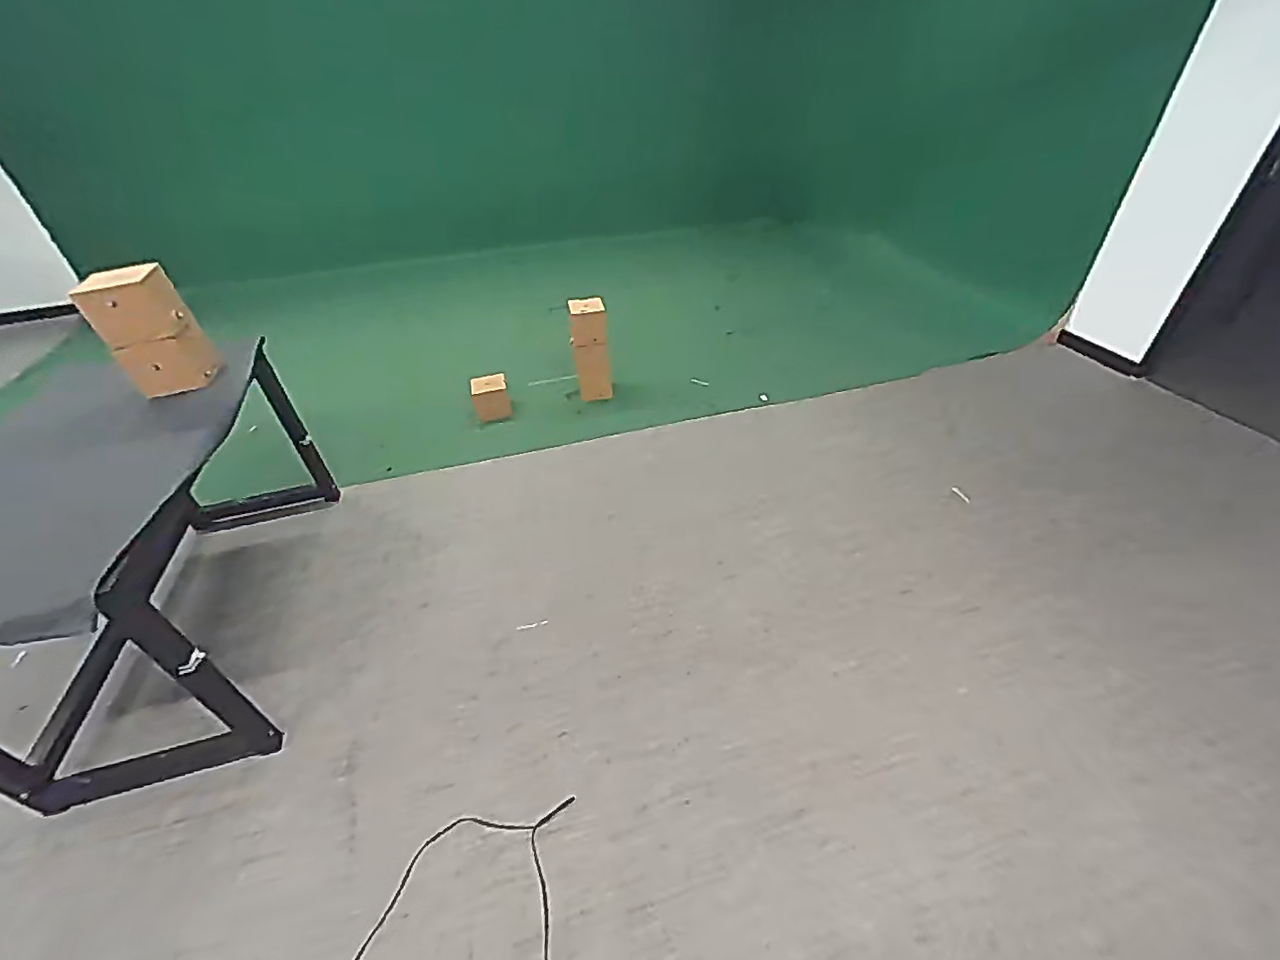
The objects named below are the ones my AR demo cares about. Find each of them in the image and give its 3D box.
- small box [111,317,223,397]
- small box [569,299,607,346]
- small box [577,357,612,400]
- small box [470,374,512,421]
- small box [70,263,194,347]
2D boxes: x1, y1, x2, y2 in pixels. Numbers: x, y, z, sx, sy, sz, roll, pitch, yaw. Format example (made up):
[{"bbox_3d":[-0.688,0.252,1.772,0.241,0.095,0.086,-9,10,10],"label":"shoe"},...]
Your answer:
[{"bbox_3d":[-1.439,-0.378,1.662,0.179,0.176,0.168,-14,42,-8],"label":"small box"},{"bbox_3d":[-0.262,-0.788,2.704,0.168,0.176,0.179,-9,39,-8],"label":"small box"},{"bbox_3d":[-0.245,-0.543,2.923,0.168,0.176,0.179,-7,40,-4],"label":"small box"},{"bbox_3d":[-0.775,-0.427,2.815,0.179,0.176,0.168,-12,41,-11],"label":"small box"},{"bbox_3d":[-1.447,-0.501,1.556,0.179,0.176,0.168,-16,43,-12],"label":"small box"}]
